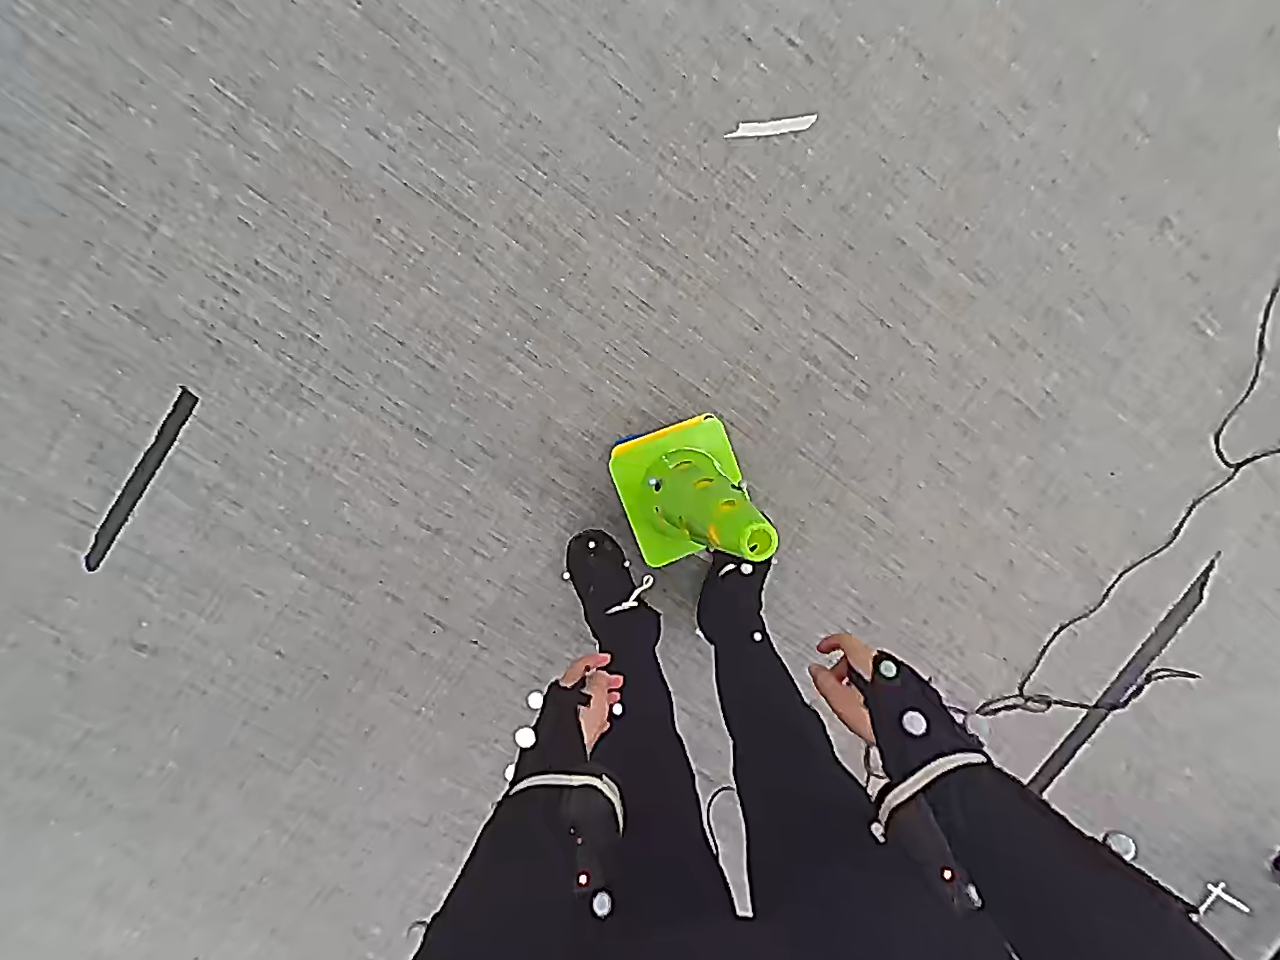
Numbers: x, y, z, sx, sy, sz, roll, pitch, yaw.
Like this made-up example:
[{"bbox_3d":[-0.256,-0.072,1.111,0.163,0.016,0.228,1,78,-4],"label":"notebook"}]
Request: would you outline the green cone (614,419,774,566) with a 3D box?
[{"bbox_3d":[0.098,0.039,0.708,0.202,0.368,0.200,-22,98,-3],"label":"green cone"}]
